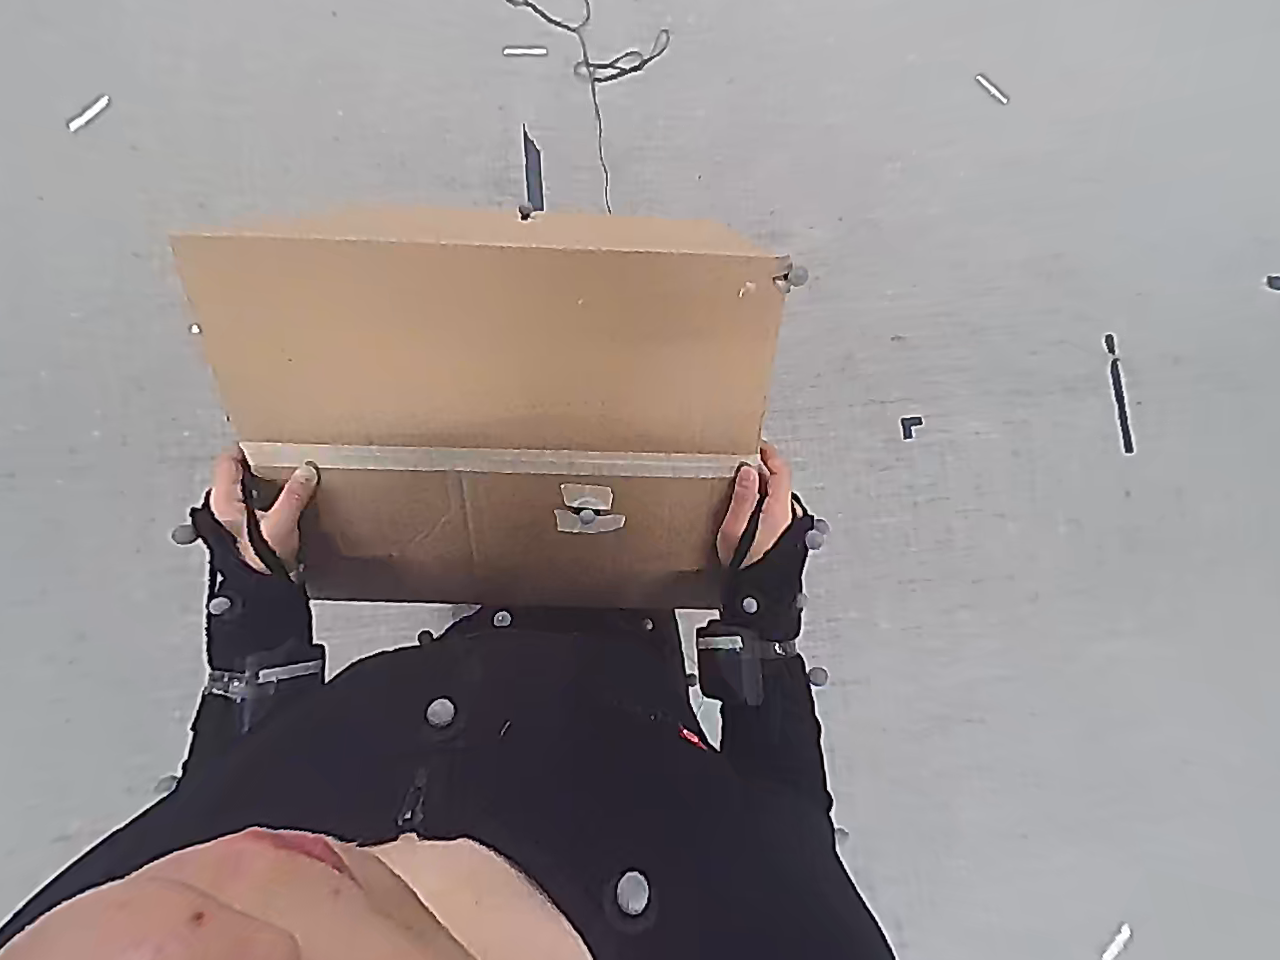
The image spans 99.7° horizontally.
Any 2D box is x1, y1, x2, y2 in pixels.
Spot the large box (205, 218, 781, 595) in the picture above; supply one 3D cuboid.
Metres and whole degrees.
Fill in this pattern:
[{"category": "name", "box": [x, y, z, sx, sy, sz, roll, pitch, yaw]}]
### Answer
[{"category": "large box", "box": [-0.107, -0.097, 0.572, 0.408, 0.320, 0.320, 1, 121, -2]}]
